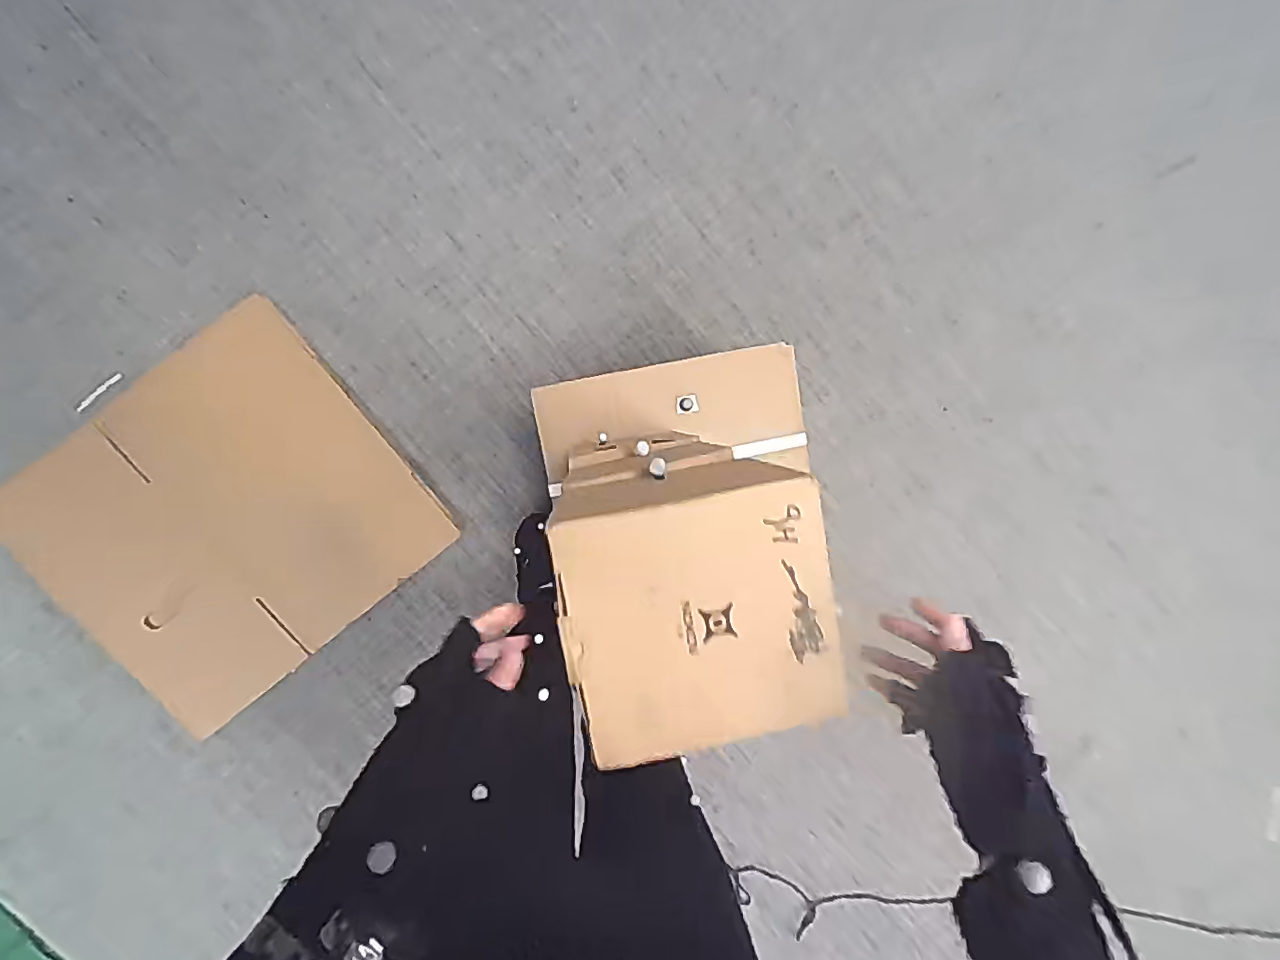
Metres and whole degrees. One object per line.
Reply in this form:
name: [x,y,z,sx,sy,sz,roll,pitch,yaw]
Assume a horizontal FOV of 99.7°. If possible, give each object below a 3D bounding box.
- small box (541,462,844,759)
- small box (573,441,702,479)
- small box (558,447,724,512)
small box: [0.033,0.084,0.437,0.179,0.176,0.168,-14,95,-3]
small box: [0.000,0.040,0.758,0.168,0.176,0.179,-8,98,-3]
small box: [0.018,0.071,0.596,0.168,0.176,0.179,-16,98,-2]
